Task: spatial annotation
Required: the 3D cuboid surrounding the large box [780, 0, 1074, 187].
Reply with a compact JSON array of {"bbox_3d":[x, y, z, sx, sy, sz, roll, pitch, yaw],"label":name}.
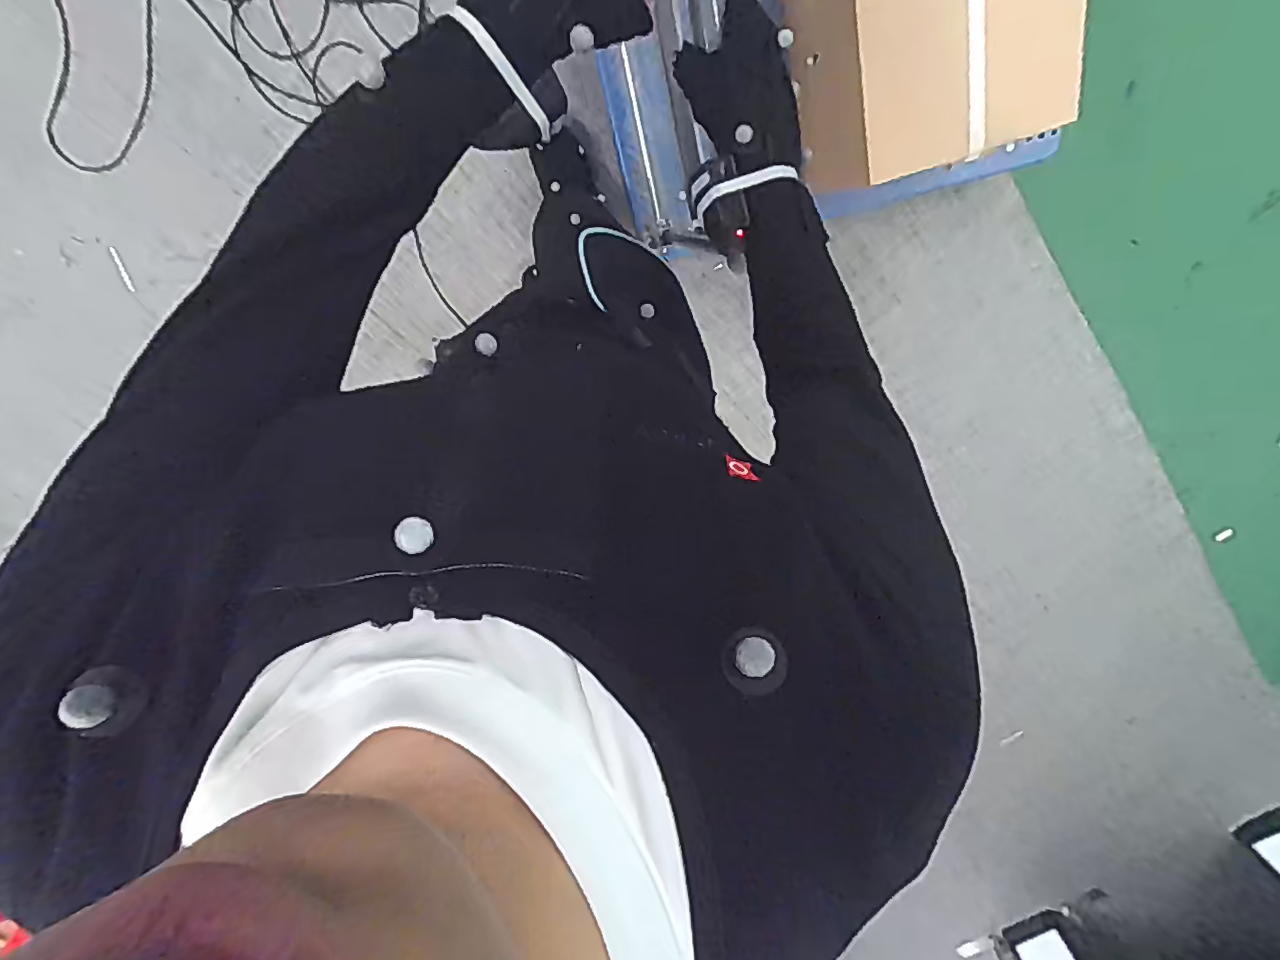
[{"bbox_3d":[0.431,-0.740,0.867,0.320,0.320,0.408,-16,116,4],"label":"large box"}]
